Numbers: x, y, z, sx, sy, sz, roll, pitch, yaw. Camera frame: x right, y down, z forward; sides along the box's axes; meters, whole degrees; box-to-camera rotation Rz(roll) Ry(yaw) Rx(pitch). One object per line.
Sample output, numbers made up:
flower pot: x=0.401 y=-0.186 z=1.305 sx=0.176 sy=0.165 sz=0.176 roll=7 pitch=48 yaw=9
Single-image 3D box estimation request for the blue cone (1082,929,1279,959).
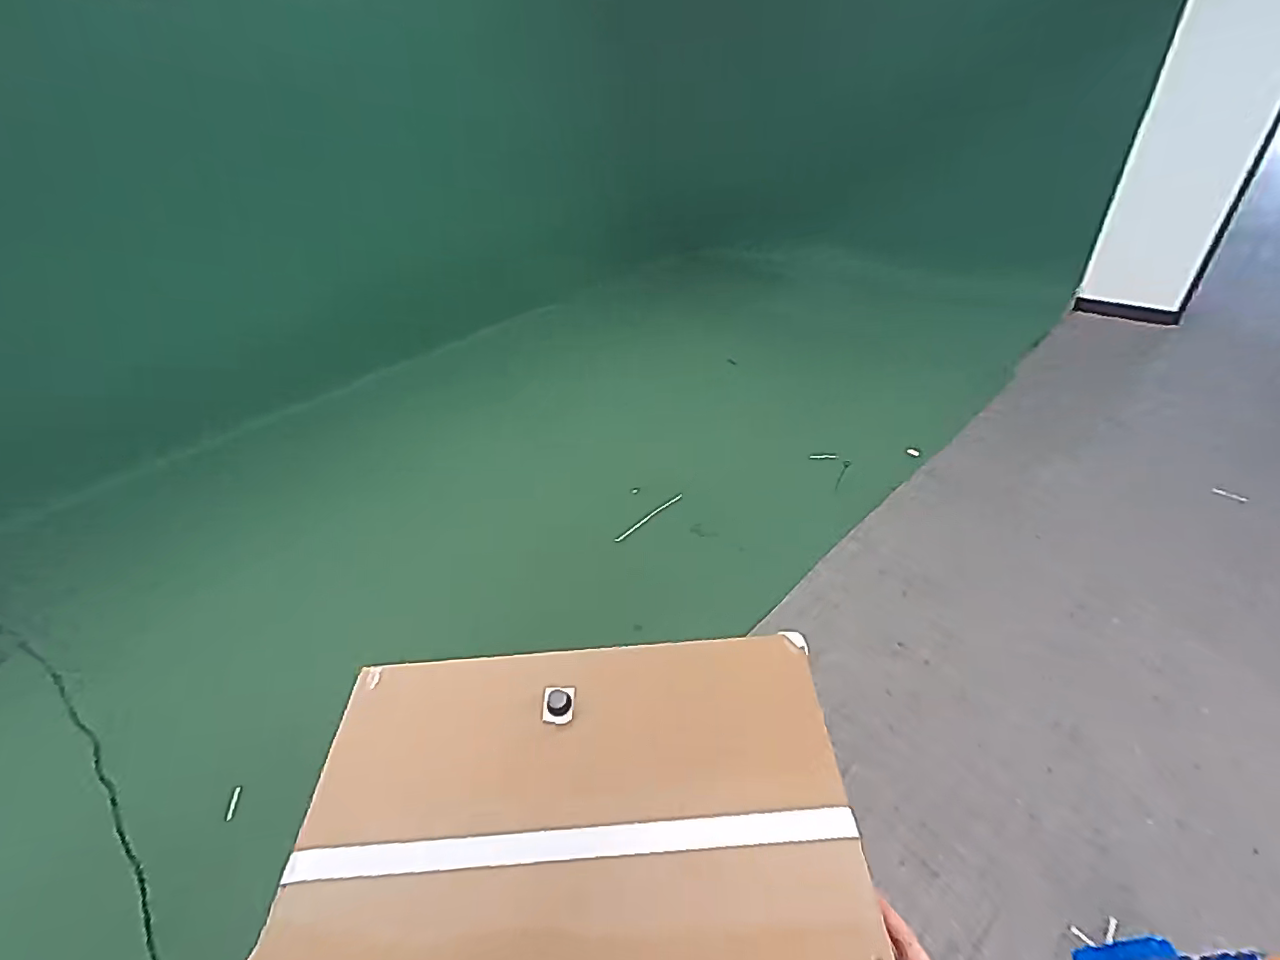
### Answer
blue cone: x=0.950 y=0.843 z=0.909 sx=0.192 sy=0.380 sz=0.193 roll=-10 pitch=37 yaw=-3
